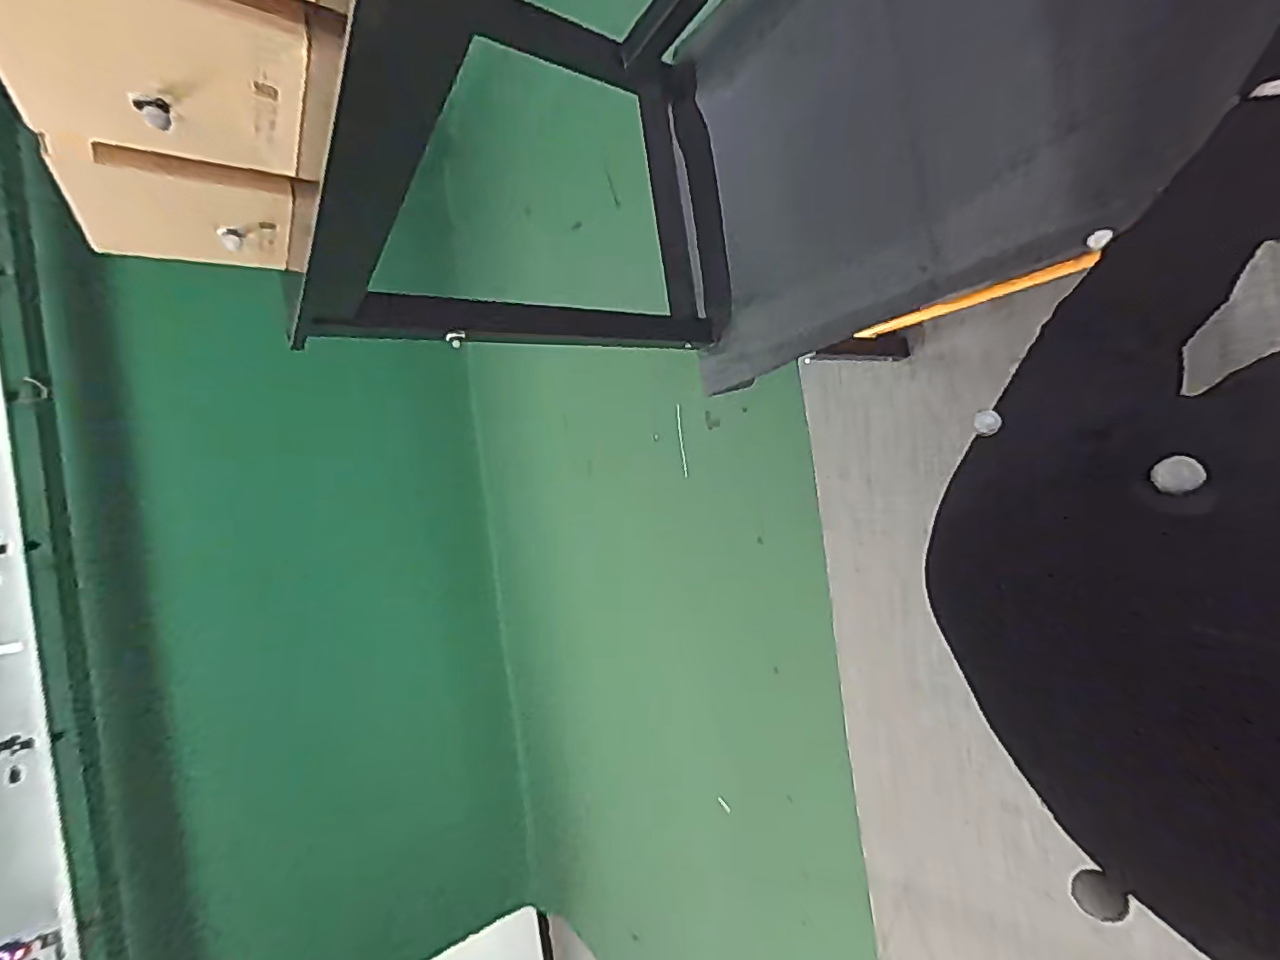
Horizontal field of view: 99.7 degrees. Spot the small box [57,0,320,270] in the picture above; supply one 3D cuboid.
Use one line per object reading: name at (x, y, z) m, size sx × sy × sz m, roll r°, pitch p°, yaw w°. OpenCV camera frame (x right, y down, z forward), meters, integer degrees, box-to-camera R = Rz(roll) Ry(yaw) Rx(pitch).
small box at (-0.438, -0.334, 0.547) m, size 0.168 × 0.176 × 0.179 m, roll -11°, pitch 88°, yaw 55°
